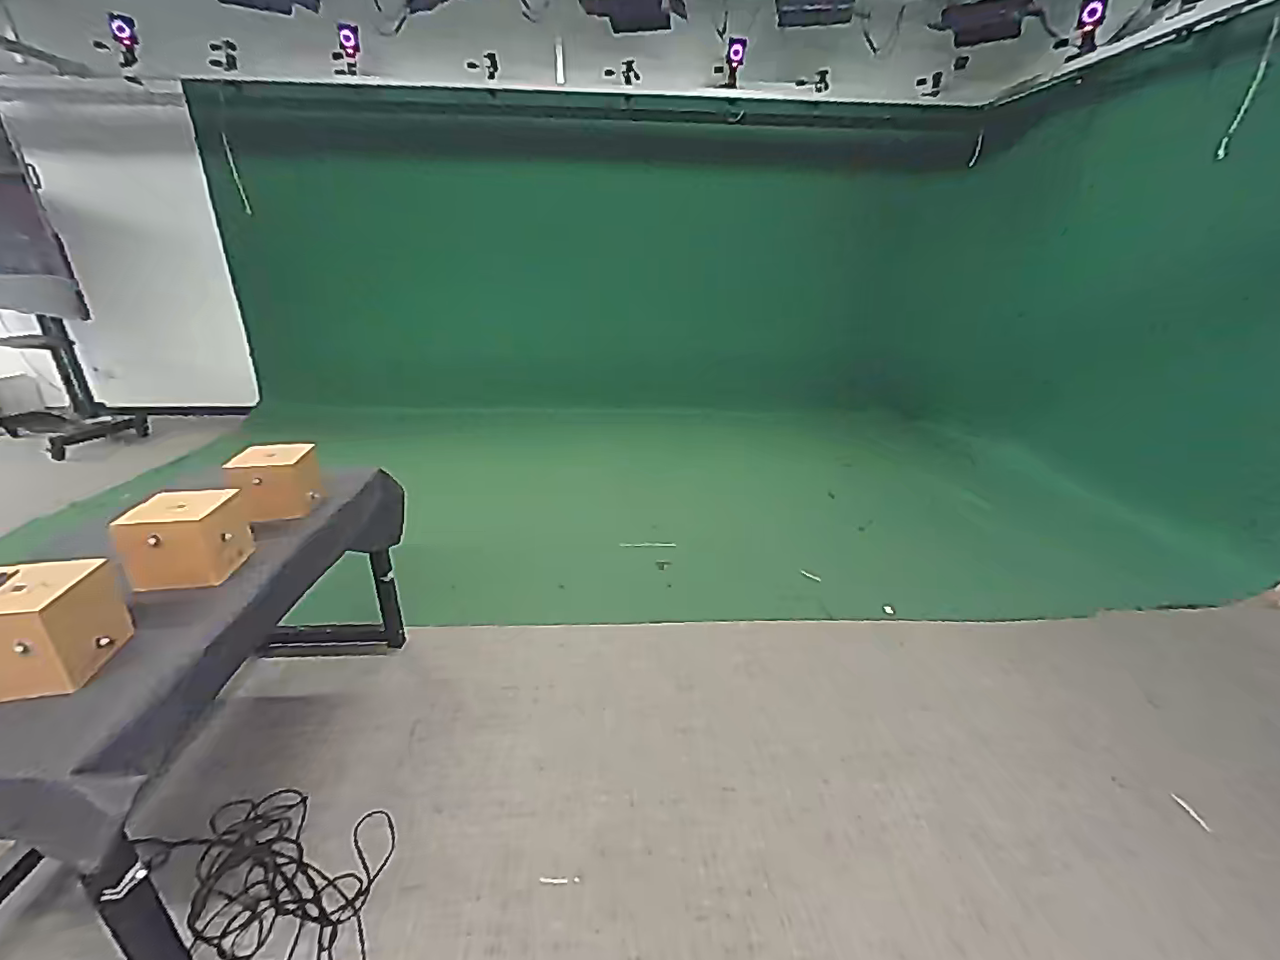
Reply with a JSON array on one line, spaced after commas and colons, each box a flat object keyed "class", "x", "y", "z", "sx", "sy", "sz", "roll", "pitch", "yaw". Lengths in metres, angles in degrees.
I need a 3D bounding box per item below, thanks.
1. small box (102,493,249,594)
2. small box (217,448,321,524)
[{"class": "small box", "x": -1.031, "y": 0.141, "z": 1.221, "sx": 0.179, "sy": 0.176, "sz": 0.168, "roll": -3, "pitch": 23, "yaw": -8}, {"class": "small box", "x": -1.034, "y": 0.017, "z": 1.522, "sx": 0.179, "sy": 0.176, "sz": 0.168, "roll": -2, "pitch": 24, "yaw": -10}]
